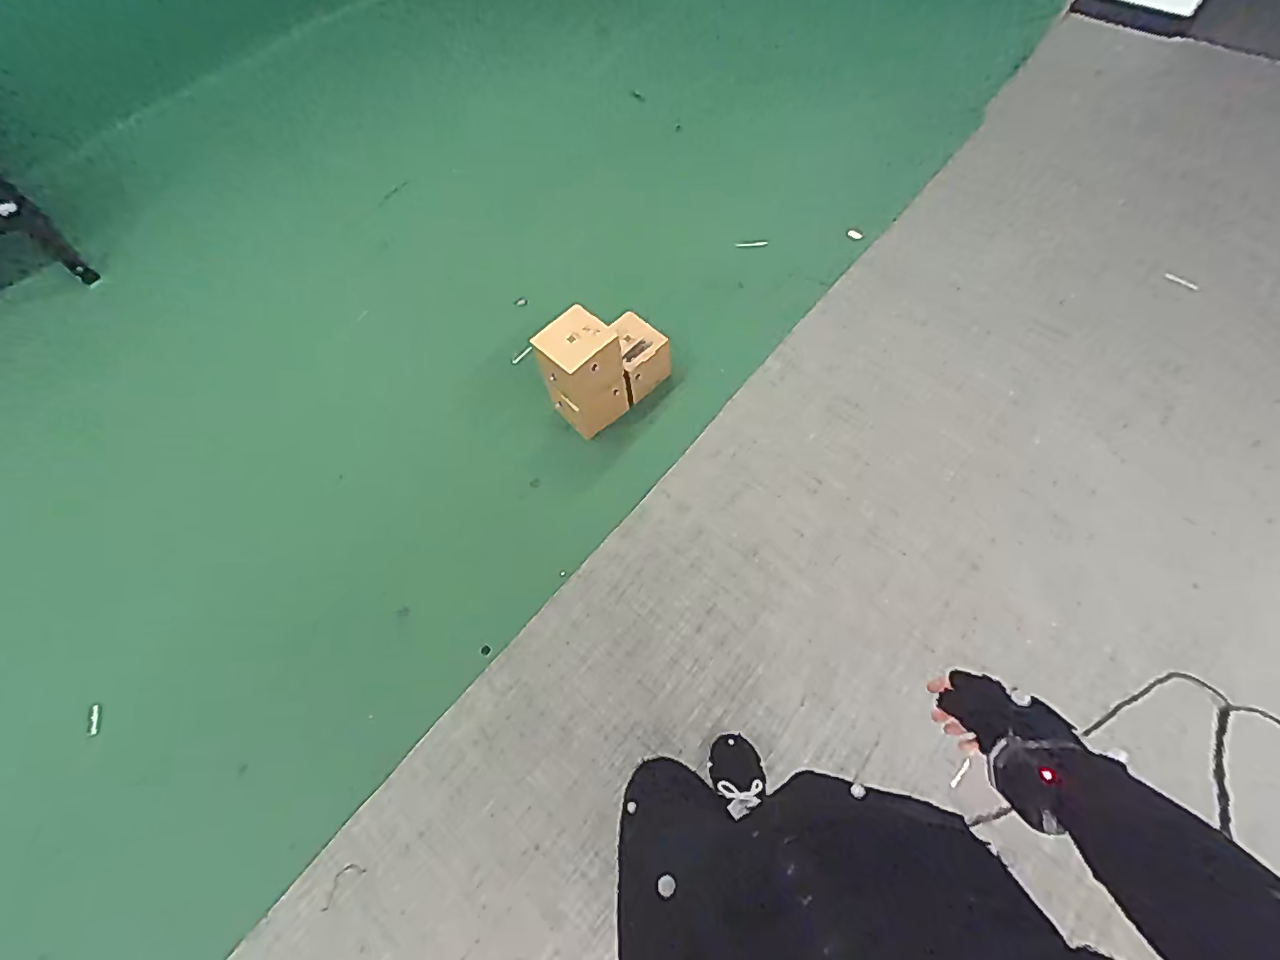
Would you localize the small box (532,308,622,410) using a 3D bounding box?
[{"bbox_3d":[-0.163,-0.325,1.485,0.168,0.176,0.179,41,72,21],"label":"small box"}]
